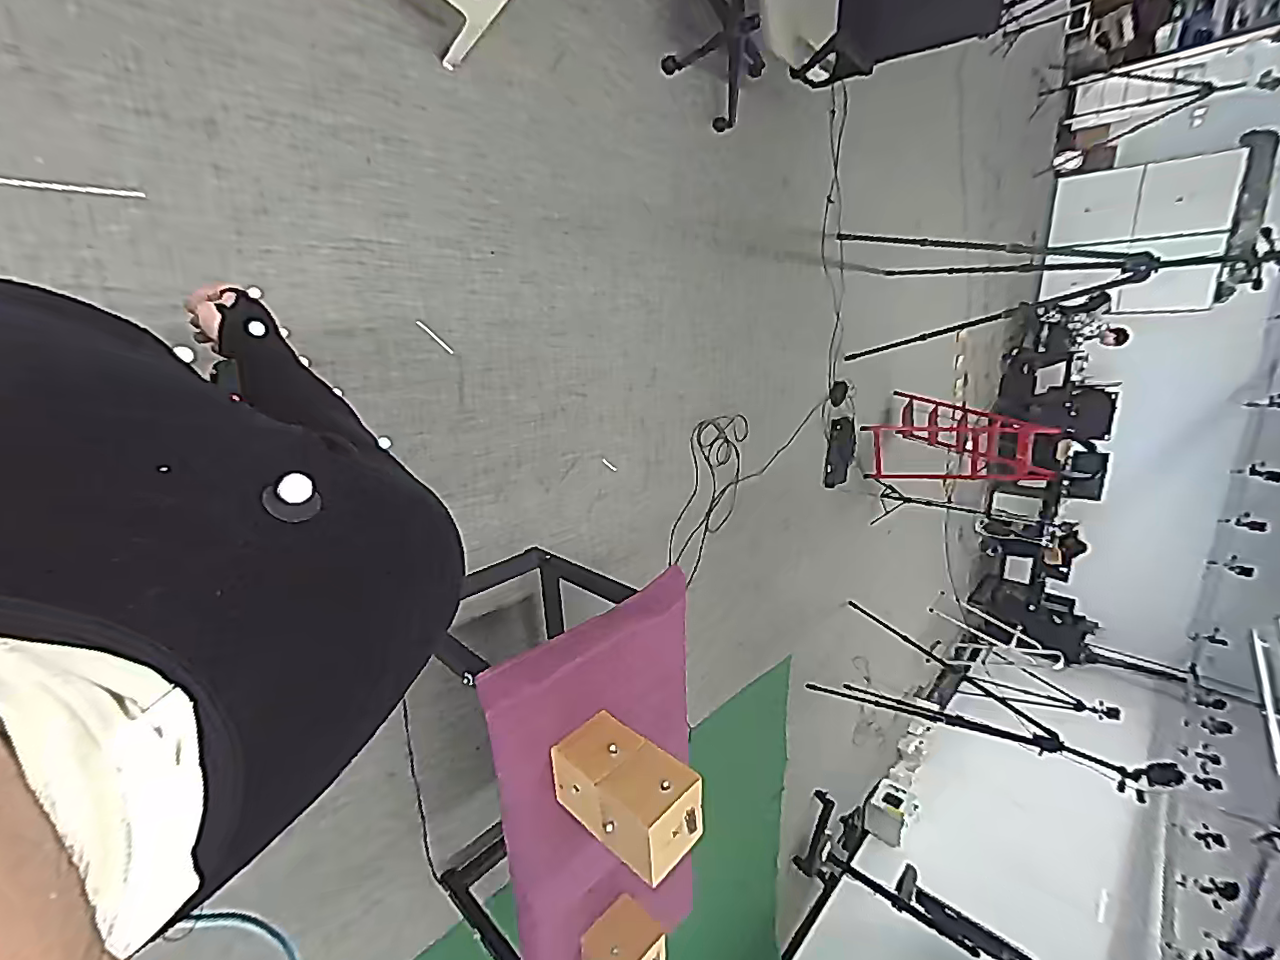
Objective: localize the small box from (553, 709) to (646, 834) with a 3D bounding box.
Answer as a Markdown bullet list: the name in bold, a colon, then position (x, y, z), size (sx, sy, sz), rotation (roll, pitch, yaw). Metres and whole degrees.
- **small box**: position (-0.101, 0.708, 1.334), size (0.179, 0.176, 0.168), rotation (-20, 114, -43)

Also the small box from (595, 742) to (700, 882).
- **small box**: position (0.019, 0.736, 1.225), size (0.179, 0.176, 0.168), rotation (-19, 112, -42)
